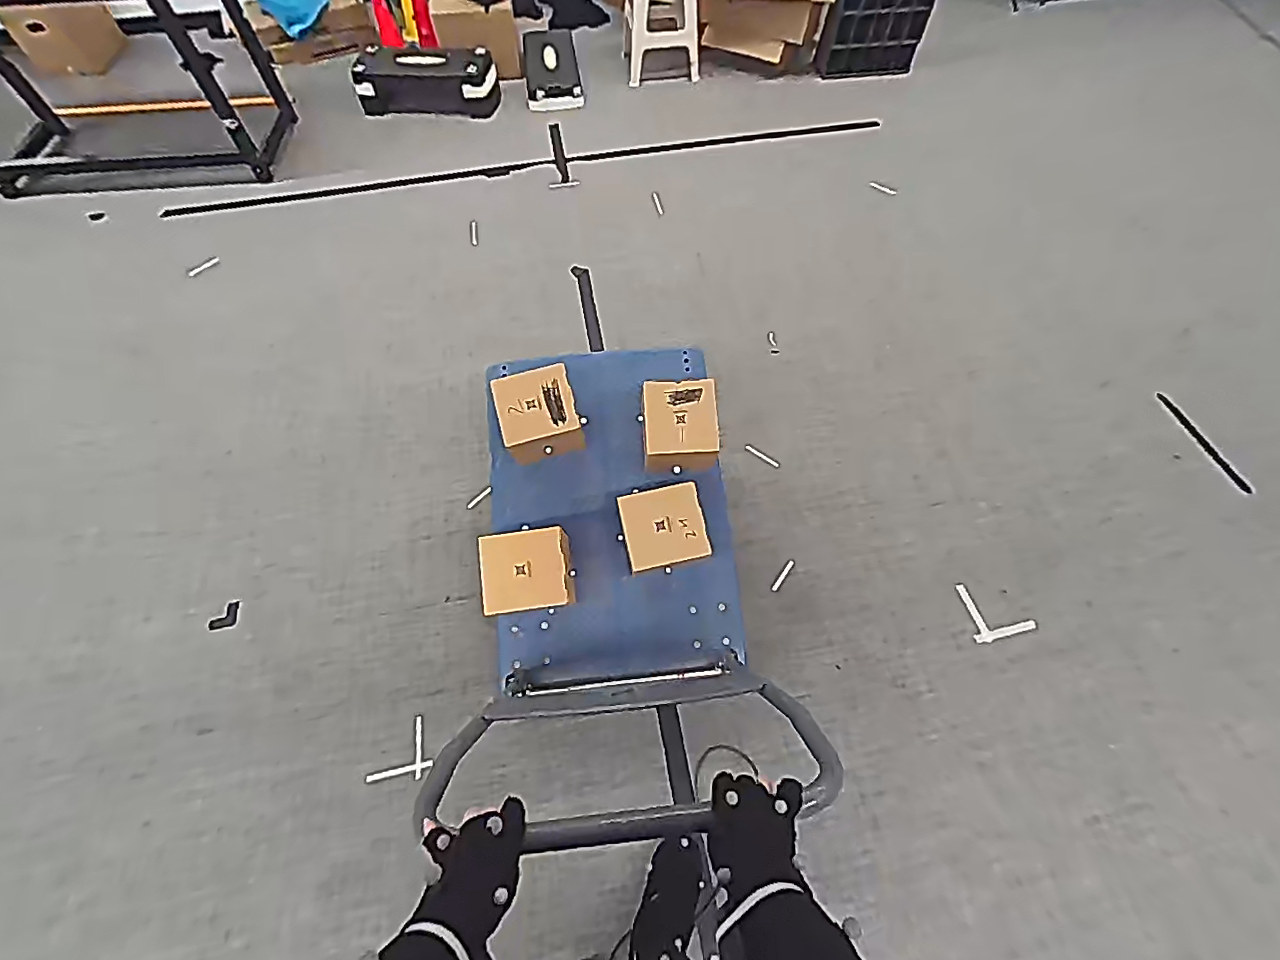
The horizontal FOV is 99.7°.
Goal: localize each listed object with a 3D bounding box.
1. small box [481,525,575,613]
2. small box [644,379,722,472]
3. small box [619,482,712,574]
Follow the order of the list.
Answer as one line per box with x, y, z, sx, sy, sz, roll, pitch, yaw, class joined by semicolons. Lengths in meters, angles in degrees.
-0.245;0.205;1.214;0.179;0.176;0.168;-7;77;-5;small box
0.097;-0.126;1.296;0.168;0.176;0.179;-2;78;-1;small box
0.054;0.116;1.238;0.179;0.176;0.168;-12;77;-3;small box
